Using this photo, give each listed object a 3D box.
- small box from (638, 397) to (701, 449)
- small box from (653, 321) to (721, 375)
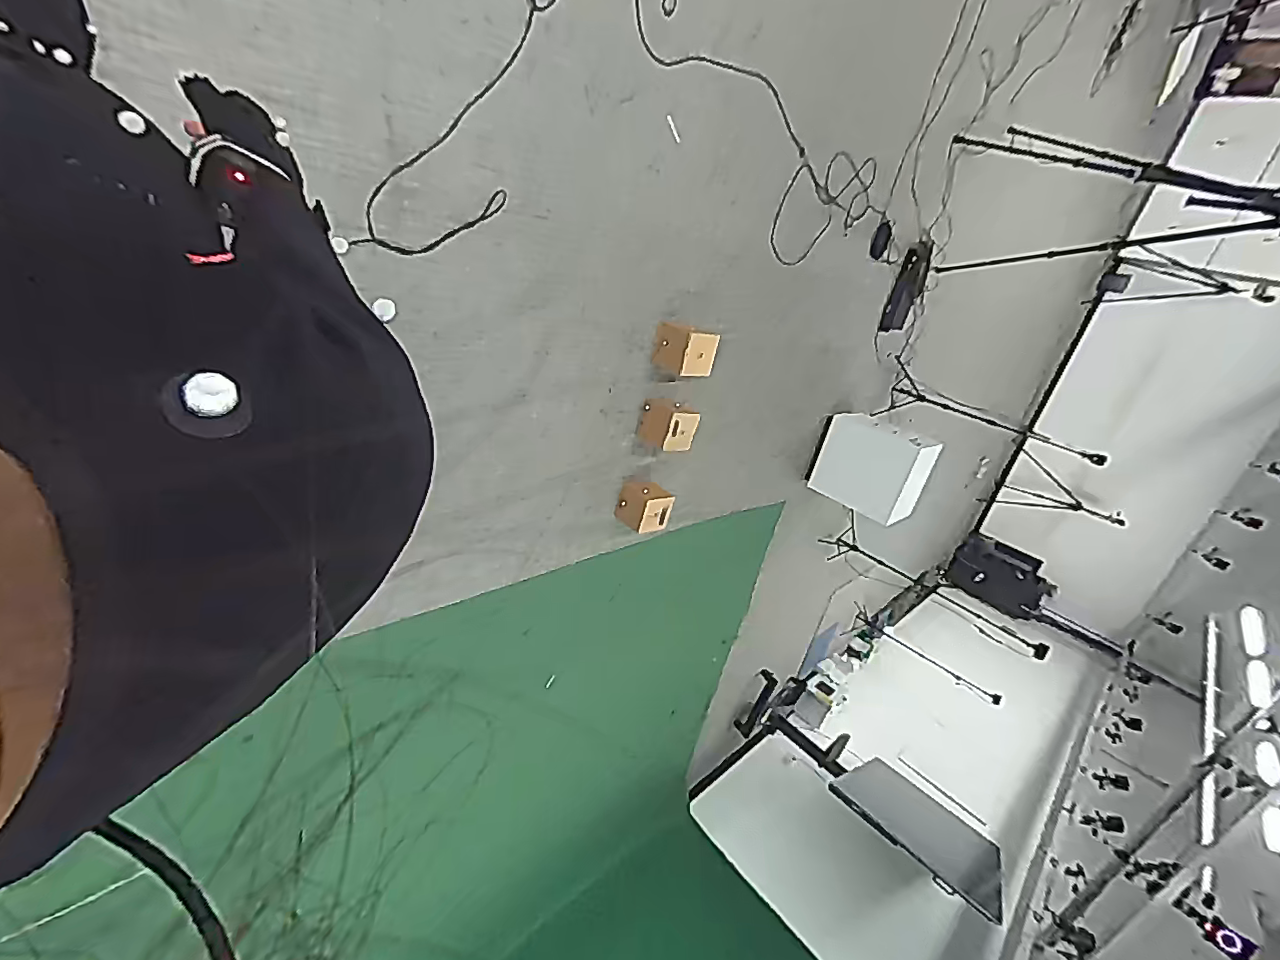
[{"bbox_3d":[0.117,-0.236,2.239,0.179,0.176,0.168,-4,119,-47],"label":"small box"},{"bbox_3d":[0.180,-0.515,2.109,0.179,0.176,0.168,-11,123,-42],"label":"small box"}]
